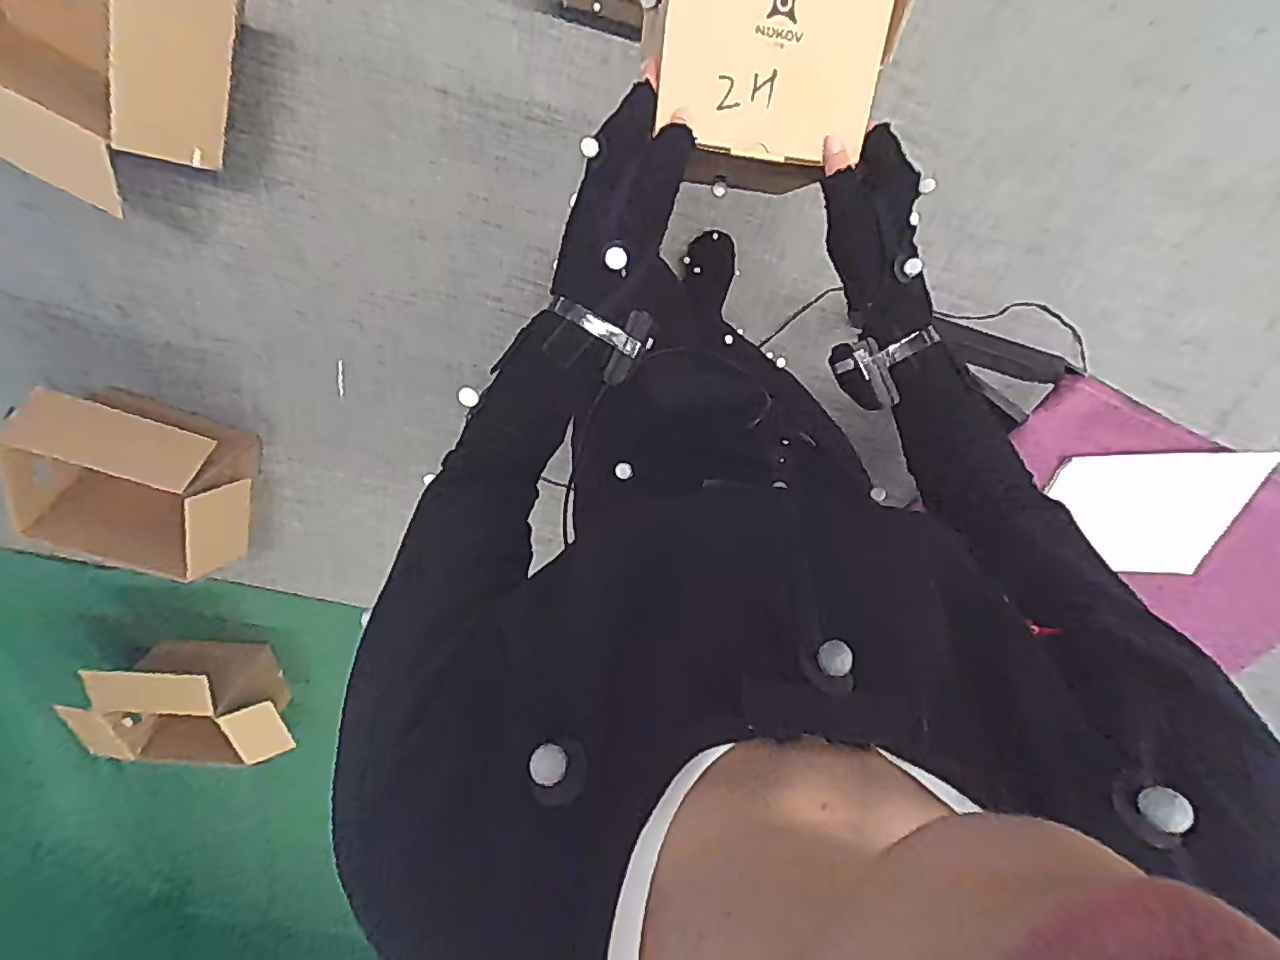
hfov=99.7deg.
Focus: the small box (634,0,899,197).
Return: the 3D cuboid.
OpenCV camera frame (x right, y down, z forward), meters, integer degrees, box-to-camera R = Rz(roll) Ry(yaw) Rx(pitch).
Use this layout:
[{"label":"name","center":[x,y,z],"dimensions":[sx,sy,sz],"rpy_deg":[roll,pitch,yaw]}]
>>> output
[{"label":"small box","center":[0.092,-0.357,0.458],"dimensions":[0.168,0.176,0.179],"rpy_deg":[4,111,-10]}]
